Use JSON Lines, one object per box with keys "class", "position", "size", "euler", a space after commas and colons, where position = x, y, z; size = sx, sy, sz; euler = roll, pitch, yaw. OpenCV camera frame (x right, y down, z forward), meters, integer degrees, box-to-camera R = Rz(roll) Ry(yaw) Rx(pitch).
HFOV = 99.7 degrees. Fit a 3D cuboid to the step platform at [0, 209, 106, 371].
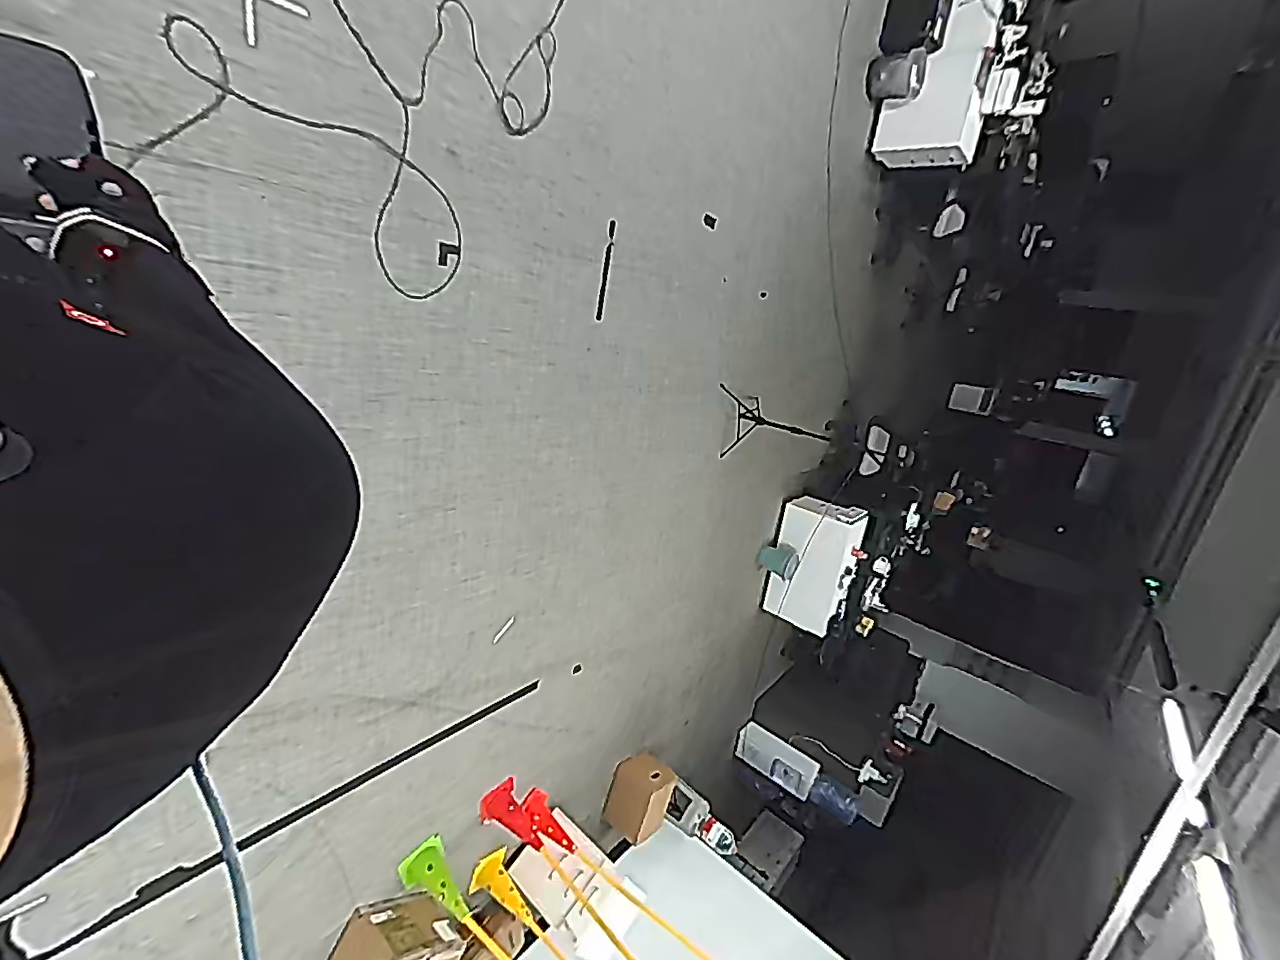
{"class": "step platform", "position": [-1.326, -0.325, 0.856], "size": [0.684, 0.204, 0.286], "euler": [-13, 117, -48]}
